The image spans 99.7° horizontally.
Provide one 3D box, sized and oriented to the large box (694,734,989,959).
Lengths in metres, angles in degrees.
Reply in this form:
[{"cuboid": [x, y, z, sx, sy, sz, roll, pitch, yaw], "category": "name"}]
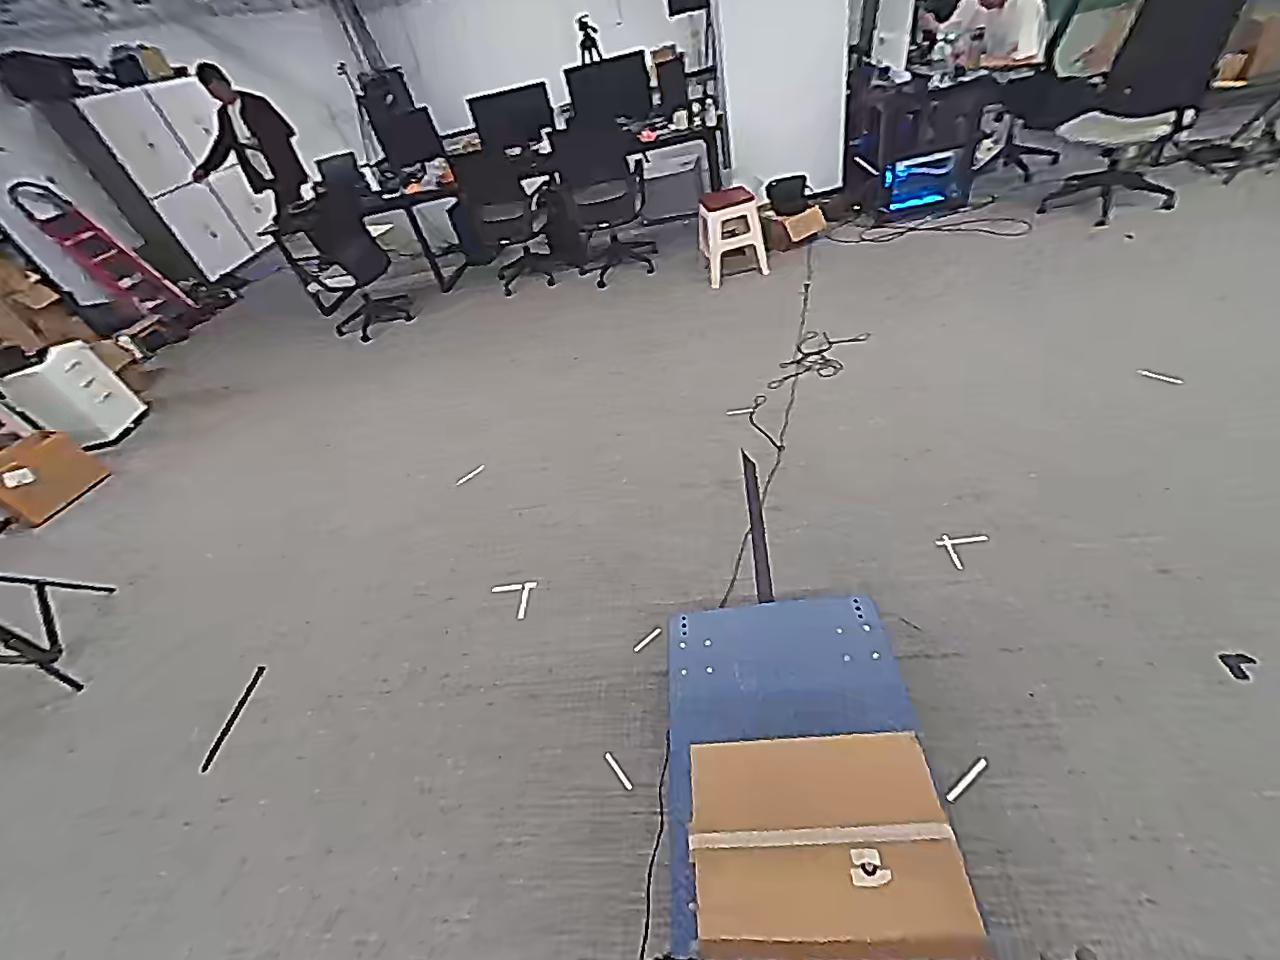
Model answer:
[{"cuboid": [0.322, 0.695, 0.982, 0.408, 0.320, 0.320, -8, 42, 8], "category": "large box"}]
